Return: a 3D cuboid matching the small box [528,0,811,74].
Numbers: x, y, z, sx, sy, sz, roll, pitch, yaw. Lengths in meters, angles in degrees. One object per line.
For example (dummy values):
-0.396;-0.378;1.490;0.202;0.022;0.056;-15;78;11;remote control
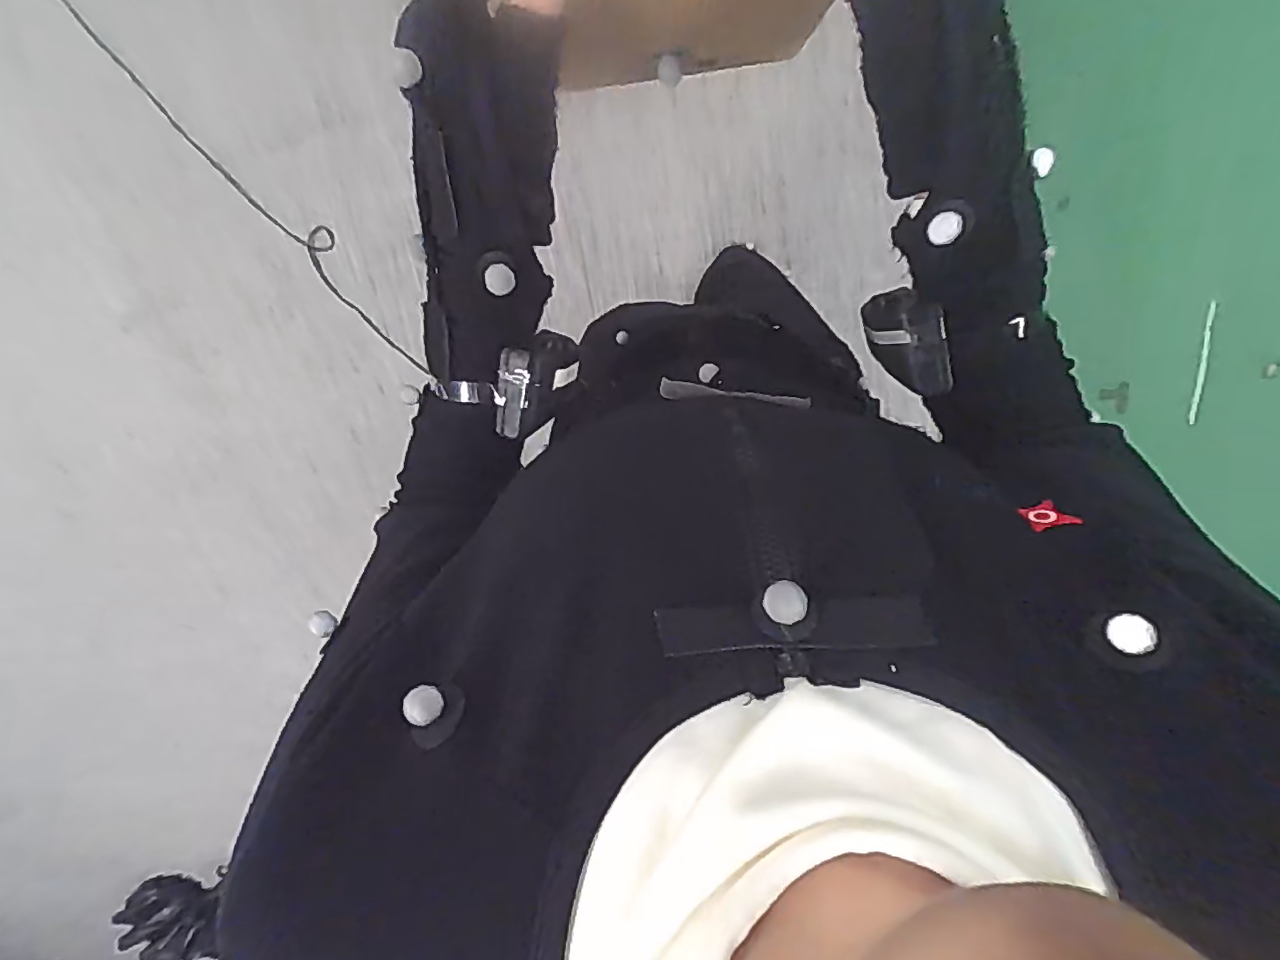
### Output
0.010;-0.336;0.261;0.168;0.176;0.179;-6;112;3;small box
